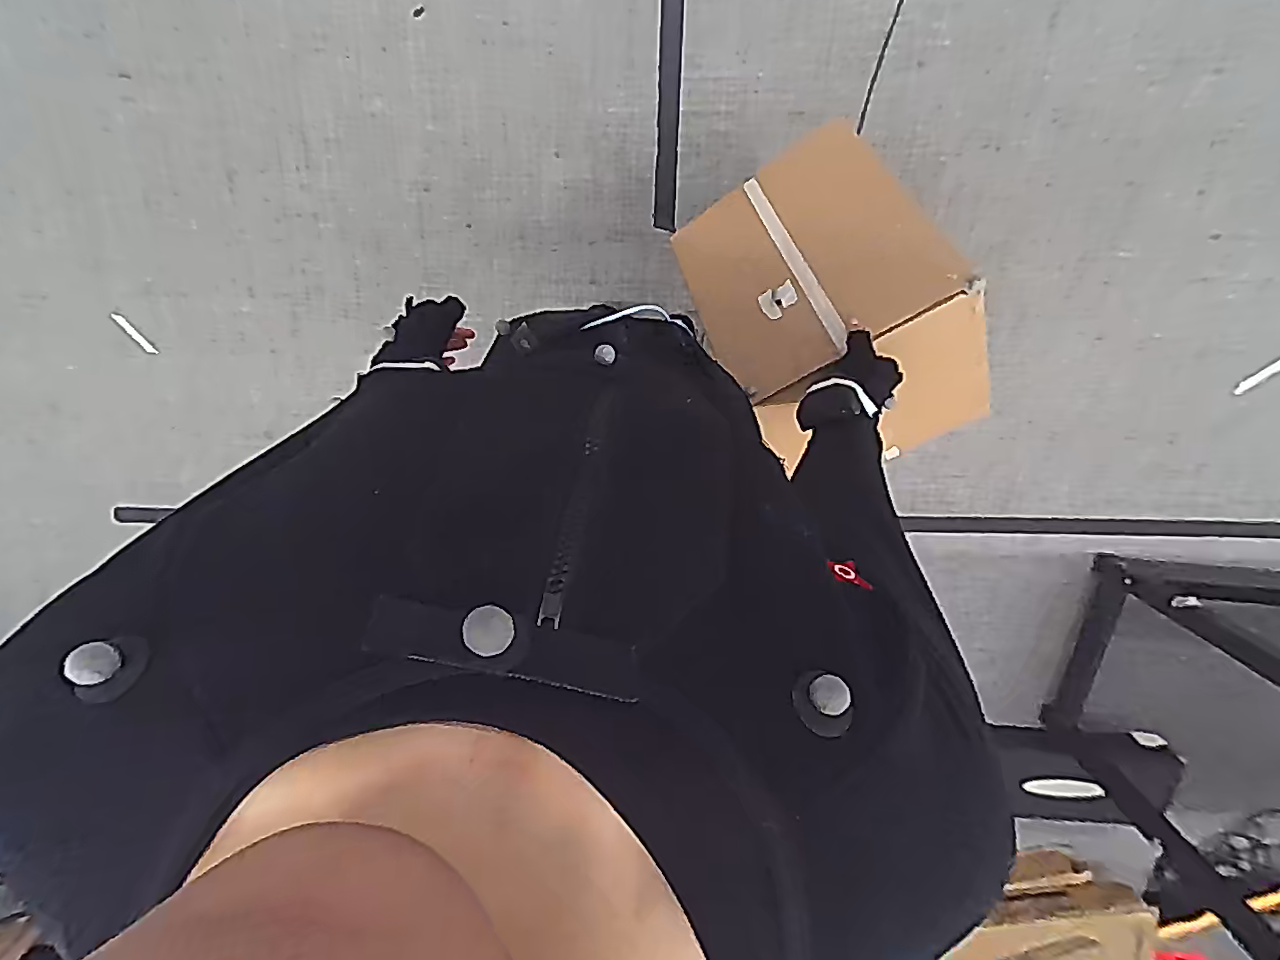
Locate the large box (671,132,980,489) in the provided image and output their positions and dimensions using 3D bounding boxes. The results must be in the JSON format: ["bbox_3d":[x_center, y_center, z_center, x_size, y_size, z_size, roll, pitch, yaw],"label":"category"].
[{"bbox_3d":[0.298,-0.261,0.897,0.320,0.408,0.320,-28,145,21],"label":"large box"}]
